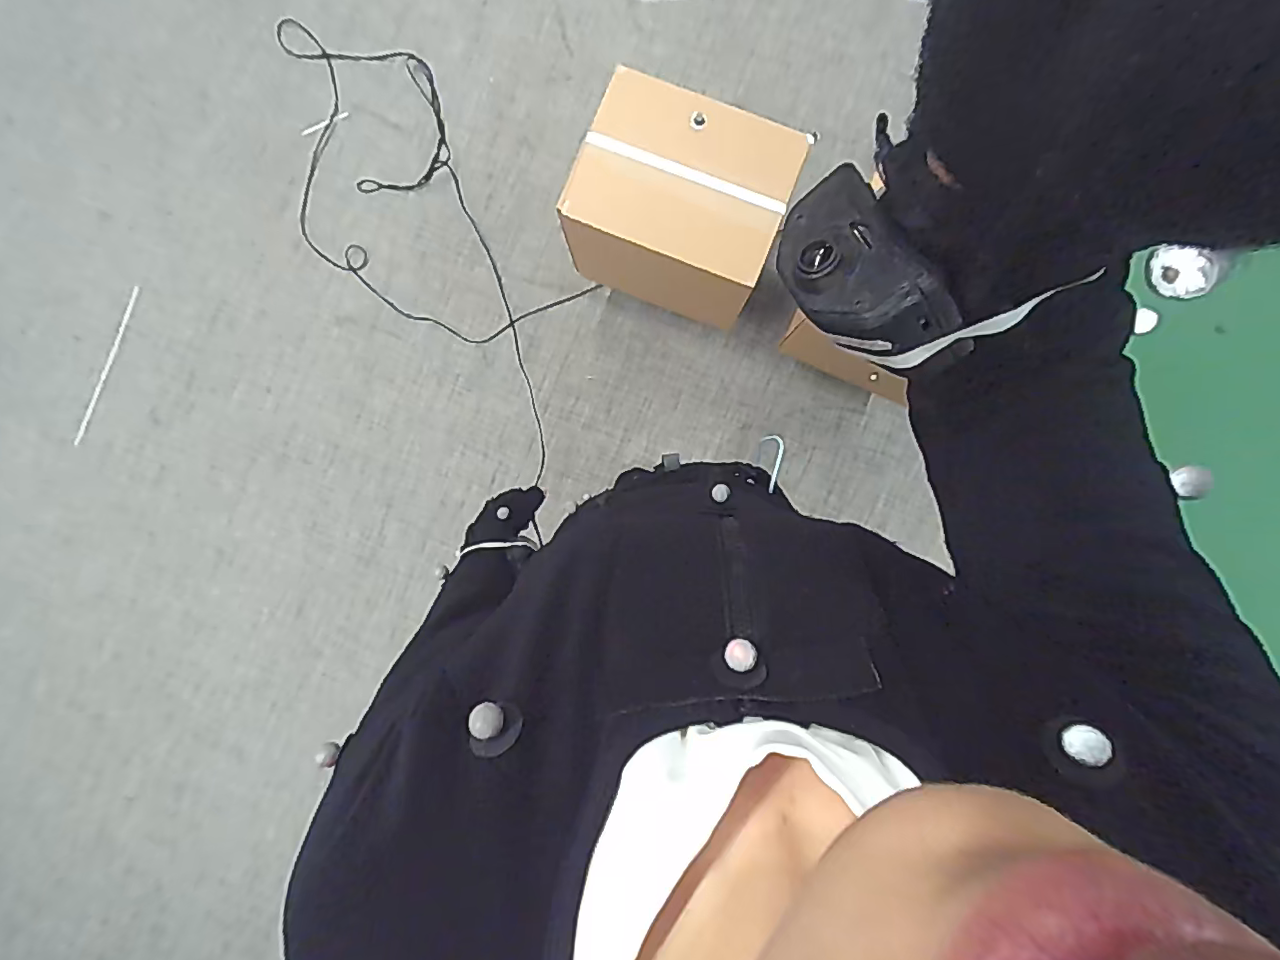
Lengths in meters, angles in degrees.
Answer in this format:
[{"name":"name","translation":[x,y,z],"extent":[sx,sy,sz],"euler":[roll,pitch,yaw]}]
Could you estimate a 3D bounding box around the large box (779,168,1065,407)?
[{"name":"large box","translation":[0.579,-0.388,1.188],"extent":[0.408,0.320,0.320],"euler":[24,90,2]}]
